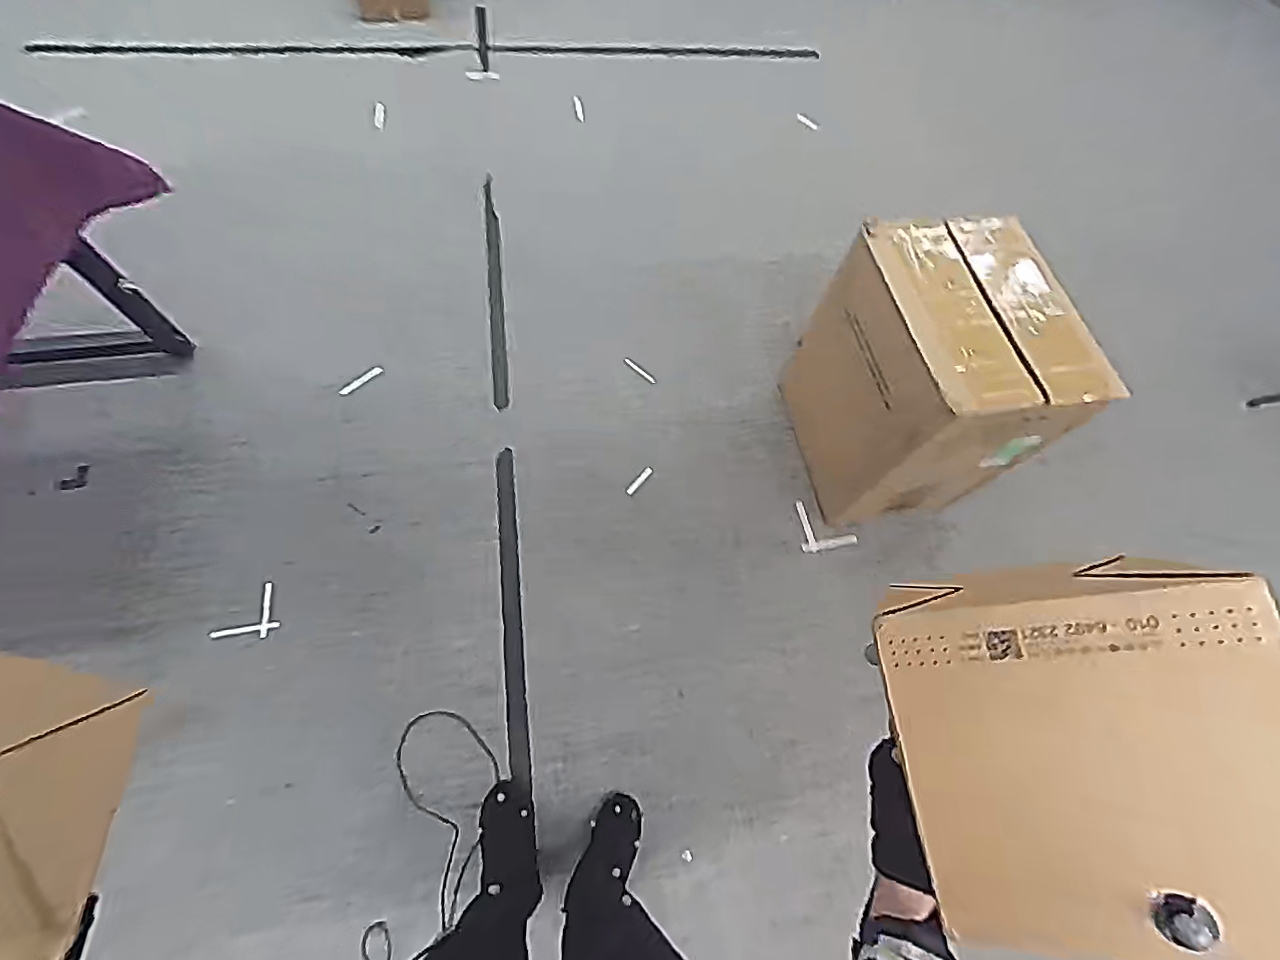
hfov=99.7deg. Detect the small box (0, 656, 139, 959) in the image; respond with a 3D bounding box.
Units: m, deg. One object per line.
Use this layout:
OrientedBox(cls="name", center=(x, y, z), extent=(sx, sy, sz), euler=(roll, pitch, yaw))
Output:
OrientedBox(cls="small box", center=(-0.339, 0.169, 0.201), extent=(0.168, 0.179, 0.176), euler=(34, 81, -35))
